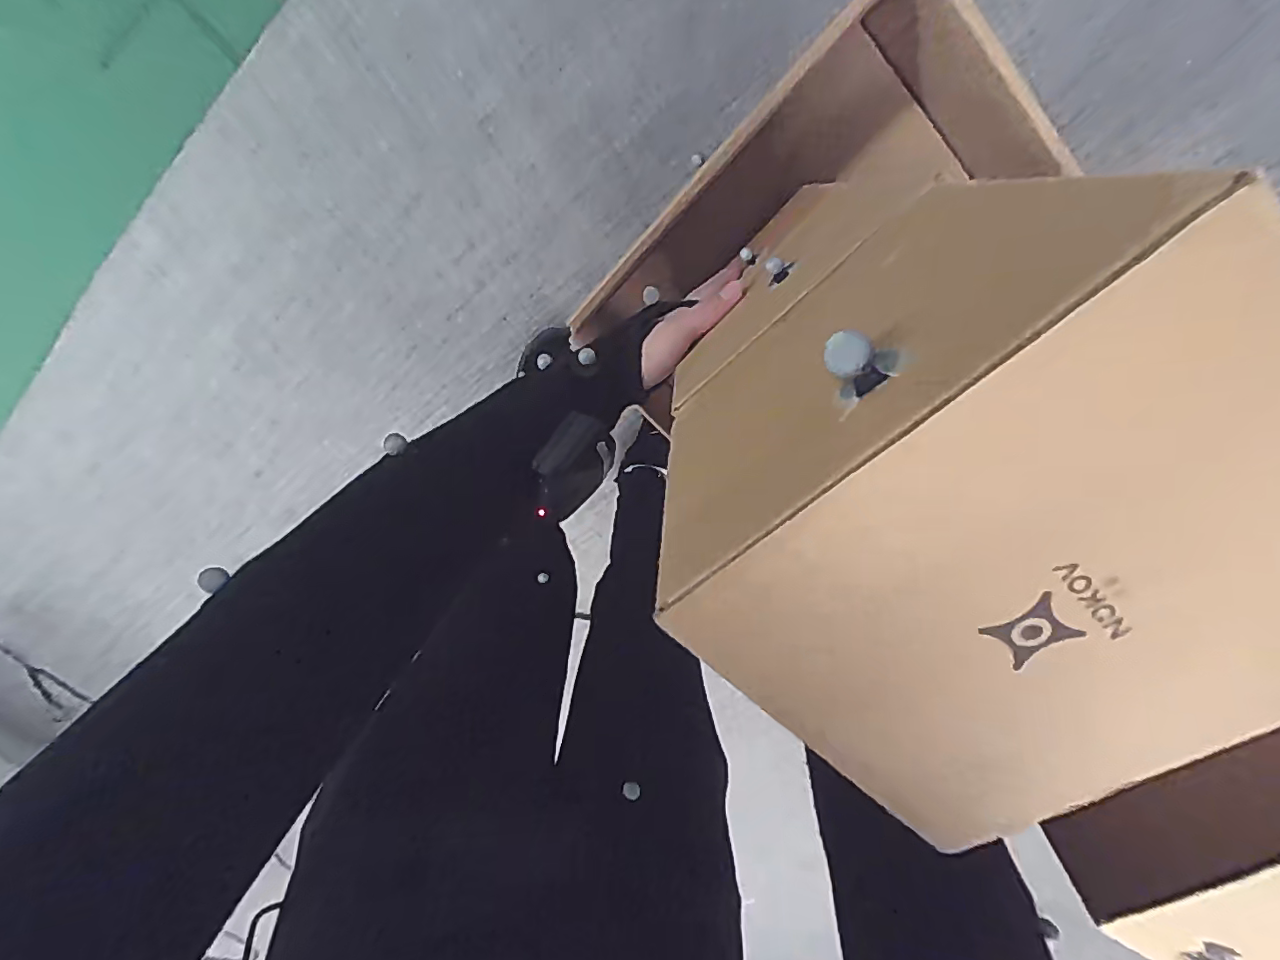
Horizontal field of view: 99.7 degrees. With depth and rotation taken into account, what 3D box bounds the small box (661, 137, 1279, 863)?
[{"bbox_3d":[0.130,0.004,0.223,0.168,0.176,0.179,42,113,-15],"label":"small box"}]
